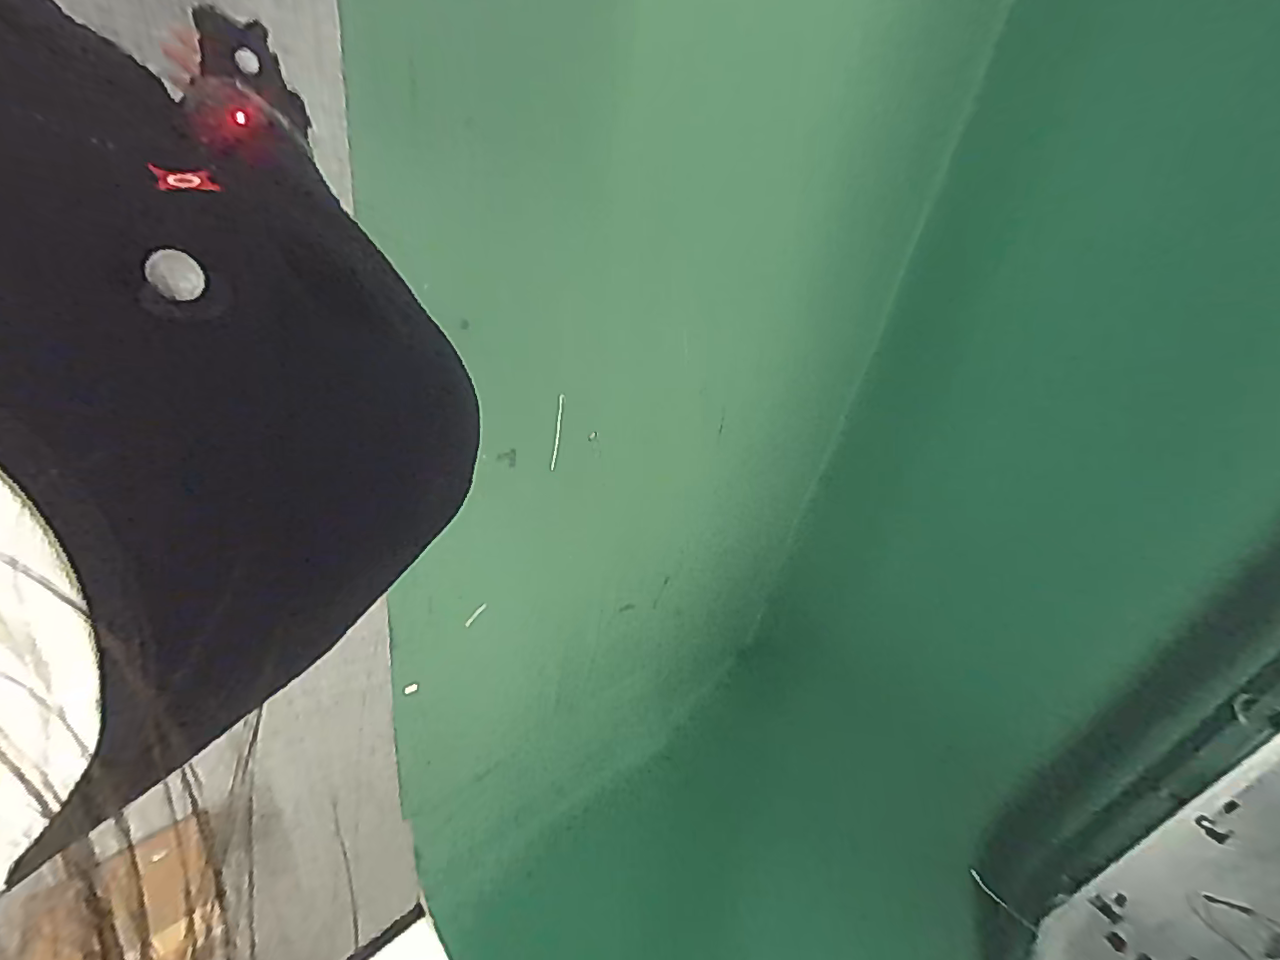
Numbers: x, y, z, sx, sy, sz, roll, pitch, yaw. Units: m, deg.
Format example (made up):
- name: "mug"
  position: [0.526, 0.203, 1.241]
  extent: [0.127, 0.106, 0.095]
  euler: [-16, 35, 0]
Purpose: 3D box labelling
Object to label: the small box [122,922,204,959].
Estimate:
- name: "small box"
  position: [-1.342, 1.410, 1.513]
  extent: [0.179, 0.176, 0.168]
  euler: [-19, 127, -39]
